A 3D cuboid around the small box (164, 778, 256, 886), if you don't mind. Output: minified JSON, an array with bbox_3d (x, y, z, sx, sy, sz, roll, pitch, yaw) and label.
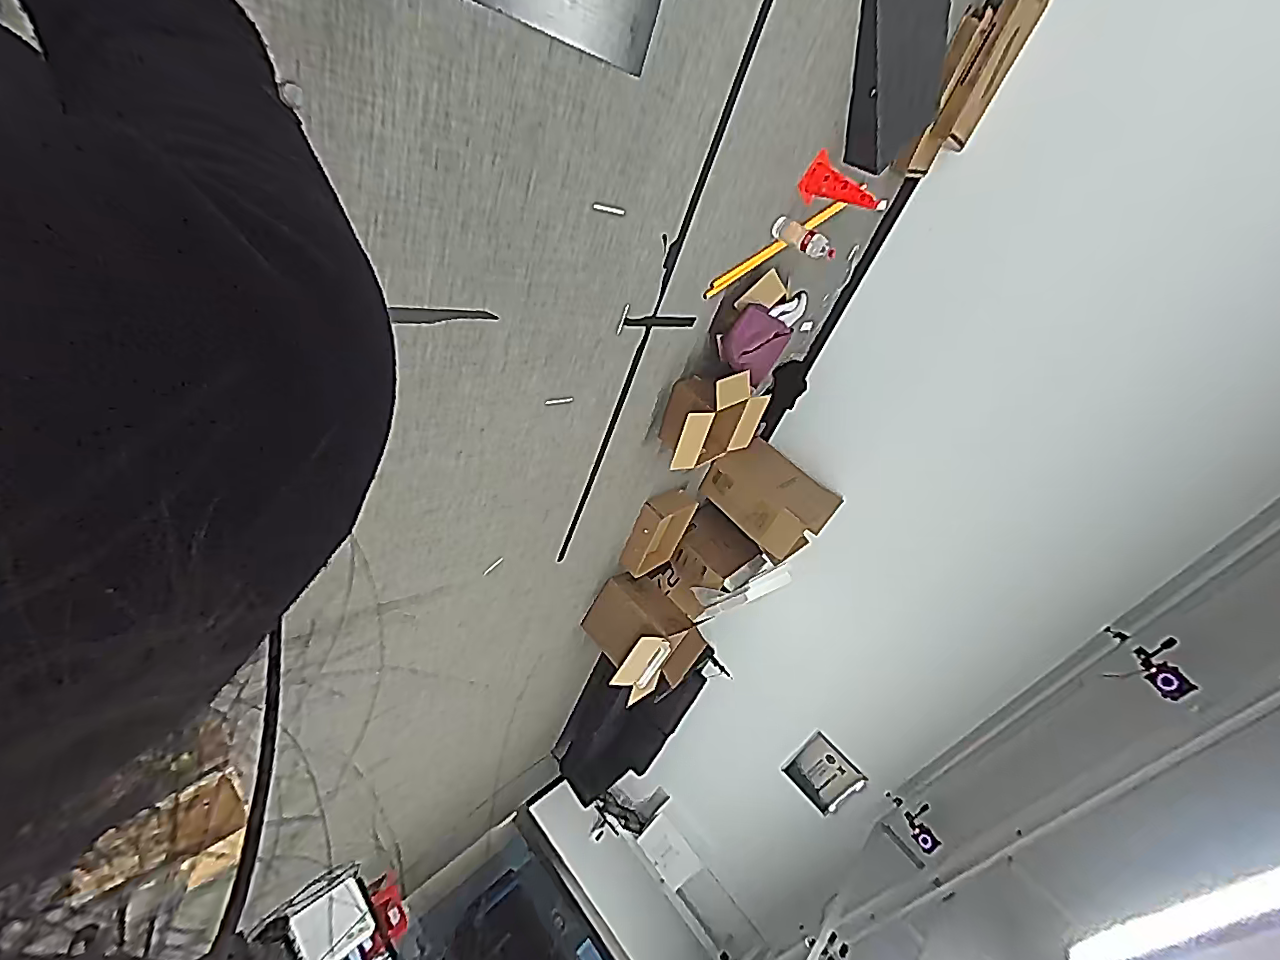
[{"bbox_3d":[-1.251,1.017,1.577,0.168,0.176,0.179,-21,139,-46],"label":"small box"}]
